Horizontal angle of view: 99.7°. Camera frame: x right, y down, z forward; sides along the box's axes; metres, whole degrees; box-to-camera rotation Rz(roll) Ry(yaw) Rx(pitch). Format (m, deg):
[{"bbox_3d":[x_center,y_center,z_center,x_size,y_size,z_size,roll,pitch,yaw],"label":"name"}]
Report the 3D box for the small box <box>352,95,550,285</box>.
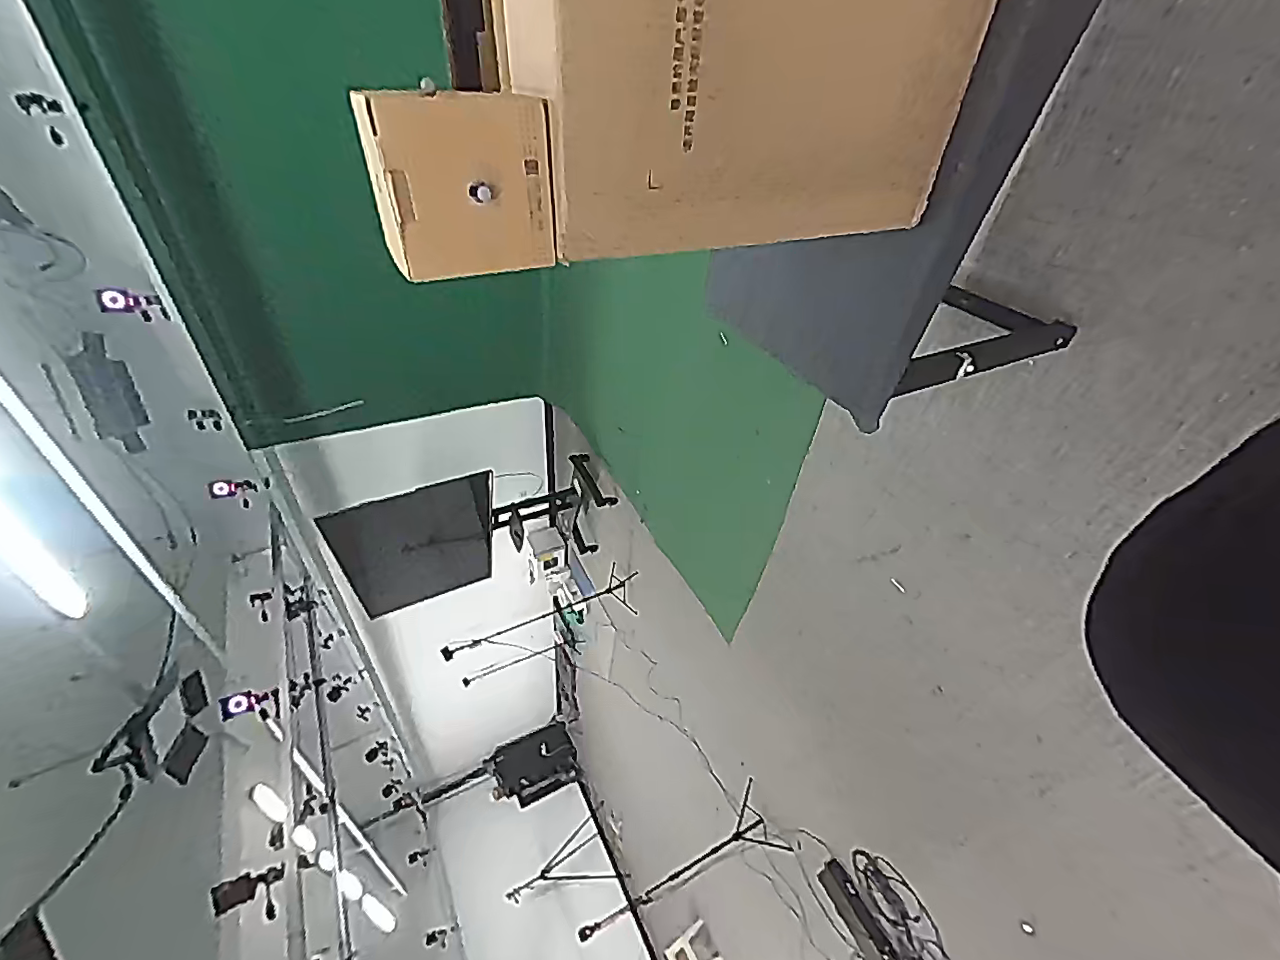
[{"bbox_3d":[-0.209,-0.342,0.626,0.179,0.176,0.168,47,146,45],"label":"small box"}]
